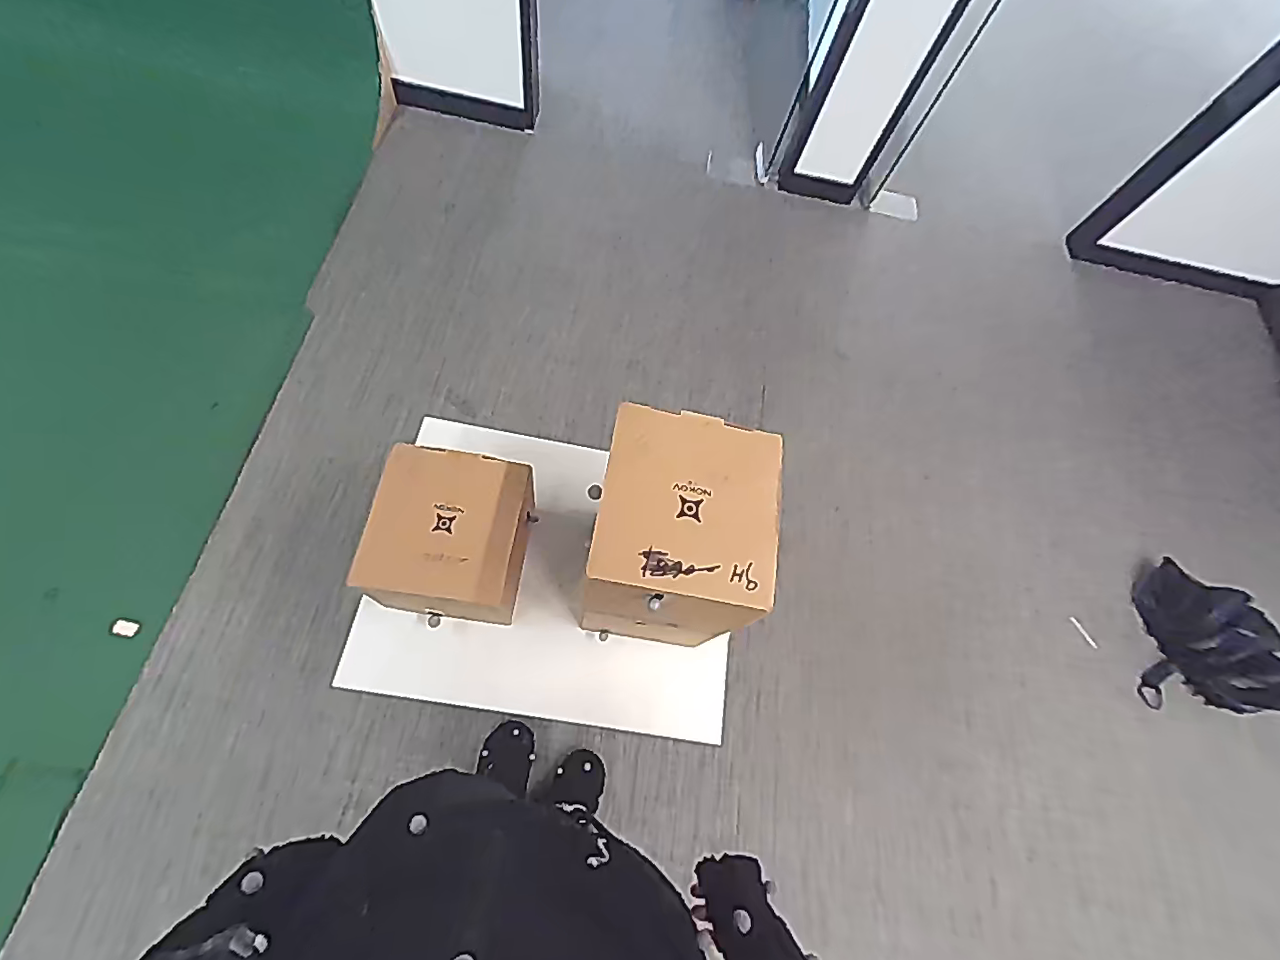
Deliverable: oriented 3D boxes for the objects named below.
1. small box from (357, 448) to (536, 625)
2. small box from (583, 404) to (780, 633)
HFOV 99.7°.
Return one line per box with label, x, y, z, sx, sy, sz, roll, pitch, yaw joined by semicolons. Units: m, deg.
small box;-0.230;0.081;0.696;0.168;0.176;0.179;7;68;-4
small box;0.035;0.050;0.566;0.168;0.176;0.179;11;66;-3
